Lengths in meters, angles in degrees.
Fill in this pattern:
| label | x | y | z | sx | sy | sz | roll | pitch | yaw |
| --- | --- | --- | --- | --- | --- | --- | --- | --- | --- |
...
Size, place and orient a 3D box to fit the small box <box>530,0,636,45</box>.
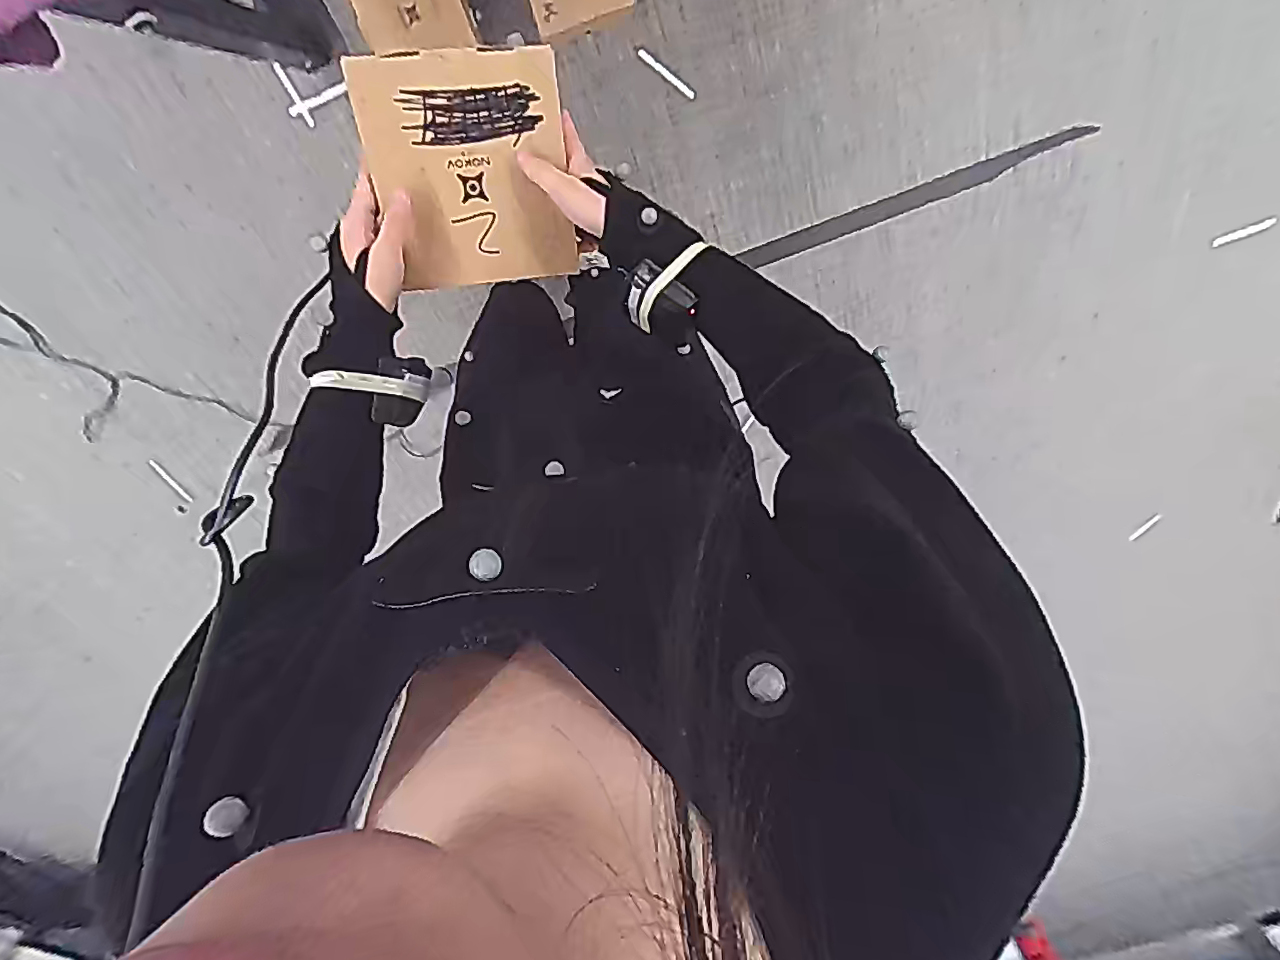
| label | x | y | z | sx | sy | sz | roll | pitch | yaw |
| --- | --- | --- | --- | --- | --- | --- | --- | --- | --- |
| small box | -0.118 | -0.899 | 0.950 | 0.179 | 0.176 | 0.168 | -16 | 123 | 4 |
